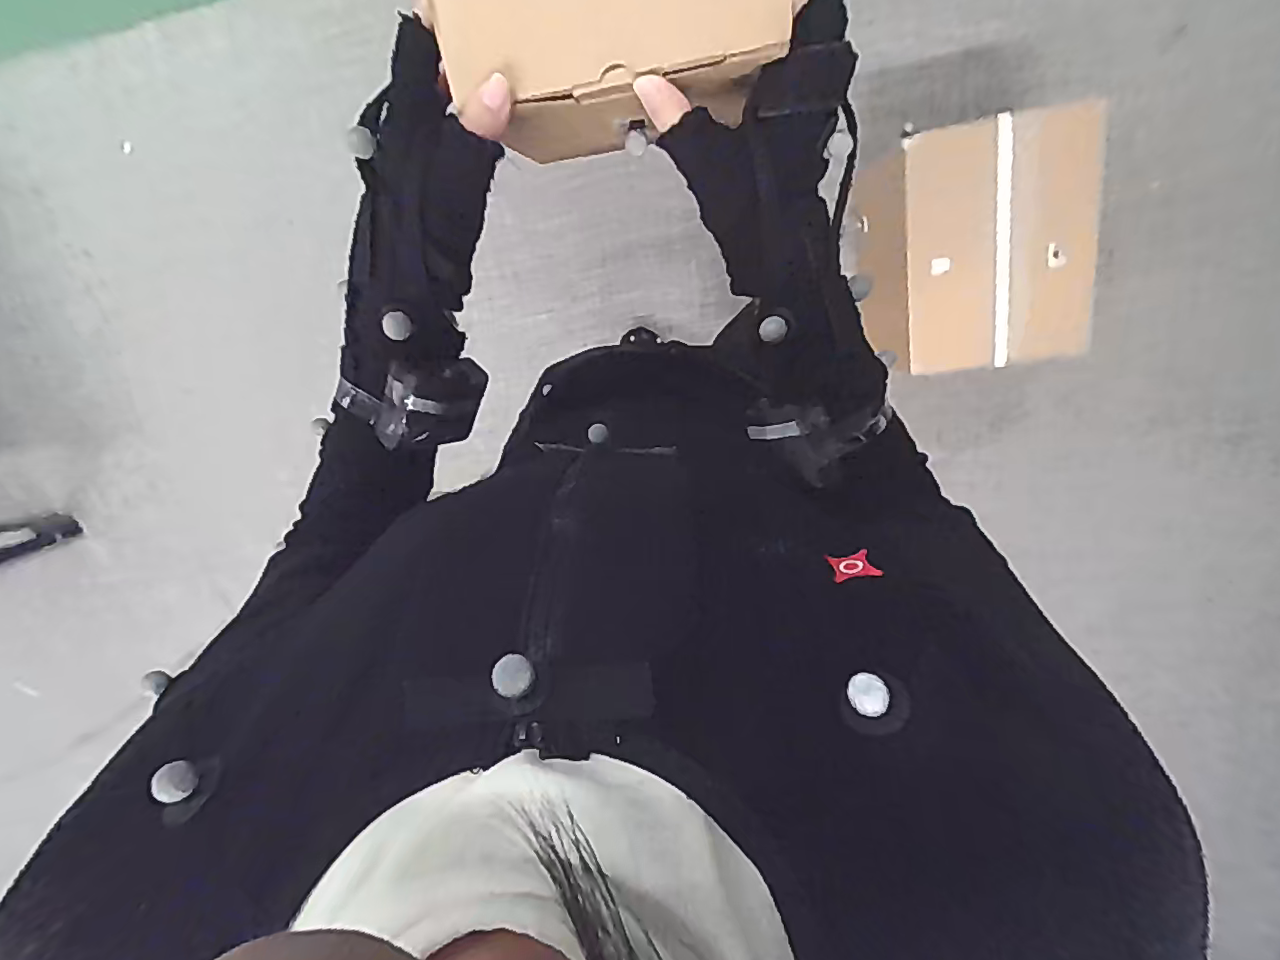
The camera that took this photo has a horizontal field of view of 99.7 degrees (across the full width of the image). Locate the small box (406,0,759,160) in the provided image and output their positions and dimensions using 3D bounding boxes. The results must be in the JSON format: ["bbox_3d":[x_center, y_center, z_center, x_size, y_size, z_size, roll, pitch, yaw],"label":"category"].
[{"bbox_3d":[-0.027,-0.295,0.305,0.168,0.176,0.179,-7,114,9],"label":"small box"}]
